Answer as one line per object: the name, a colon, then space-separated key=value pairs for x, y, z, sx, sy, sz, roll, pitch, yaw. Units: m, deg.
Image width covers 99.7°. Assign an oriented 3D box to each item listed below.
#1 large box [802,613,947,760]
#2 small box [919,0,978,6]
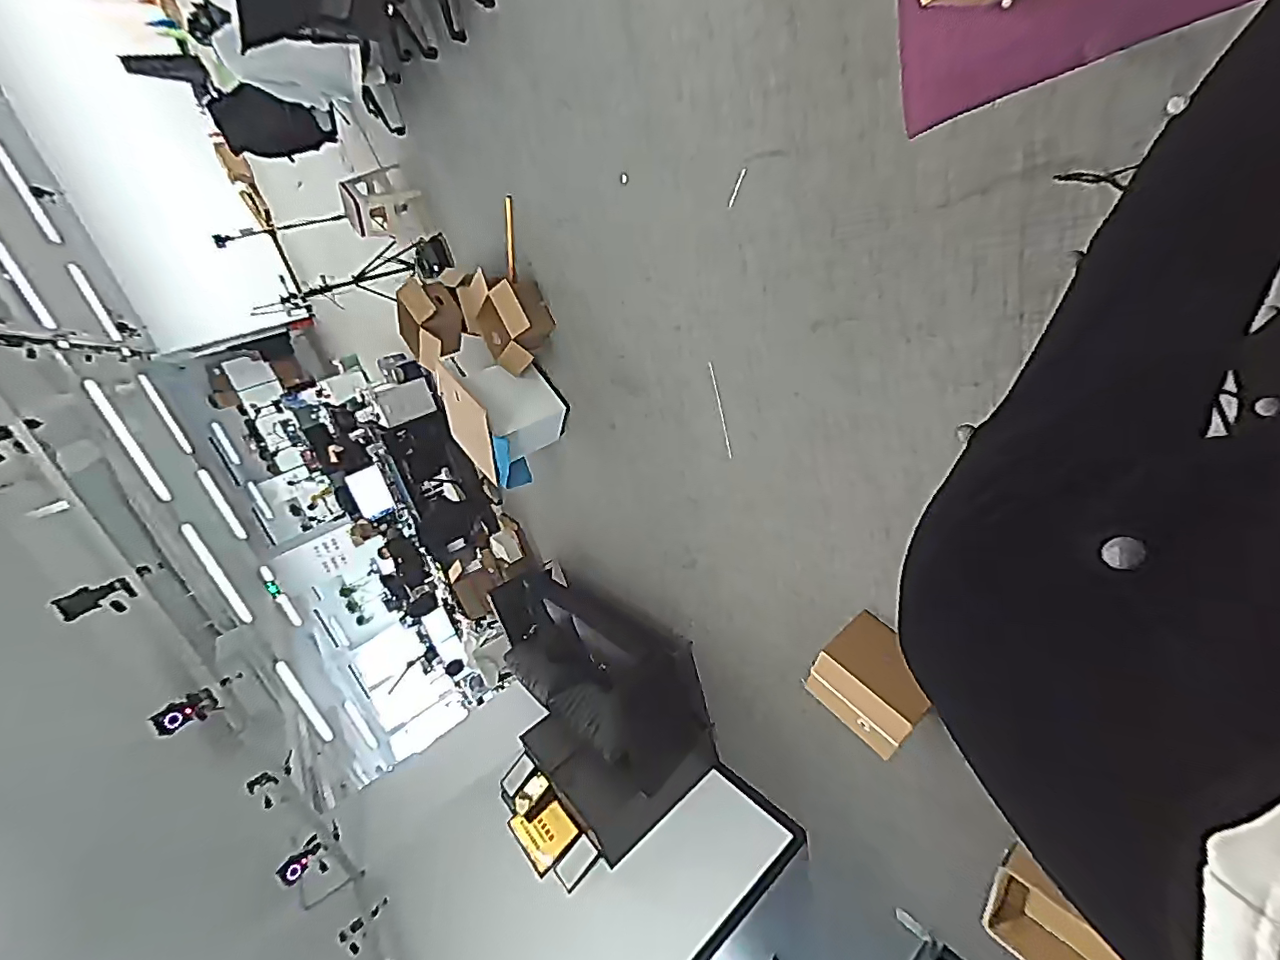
large box: x=0.946 y=0.832 z=2.218 sx=0.408 sy=0.320 sz=0.320 roll=38 pitch=143 yaw=33
small box: x=0.385 y=-0.598 z=0.516 sx=0.168 sy=0.176 sz=0.179 roll=15 pitch=127 yaw=51
